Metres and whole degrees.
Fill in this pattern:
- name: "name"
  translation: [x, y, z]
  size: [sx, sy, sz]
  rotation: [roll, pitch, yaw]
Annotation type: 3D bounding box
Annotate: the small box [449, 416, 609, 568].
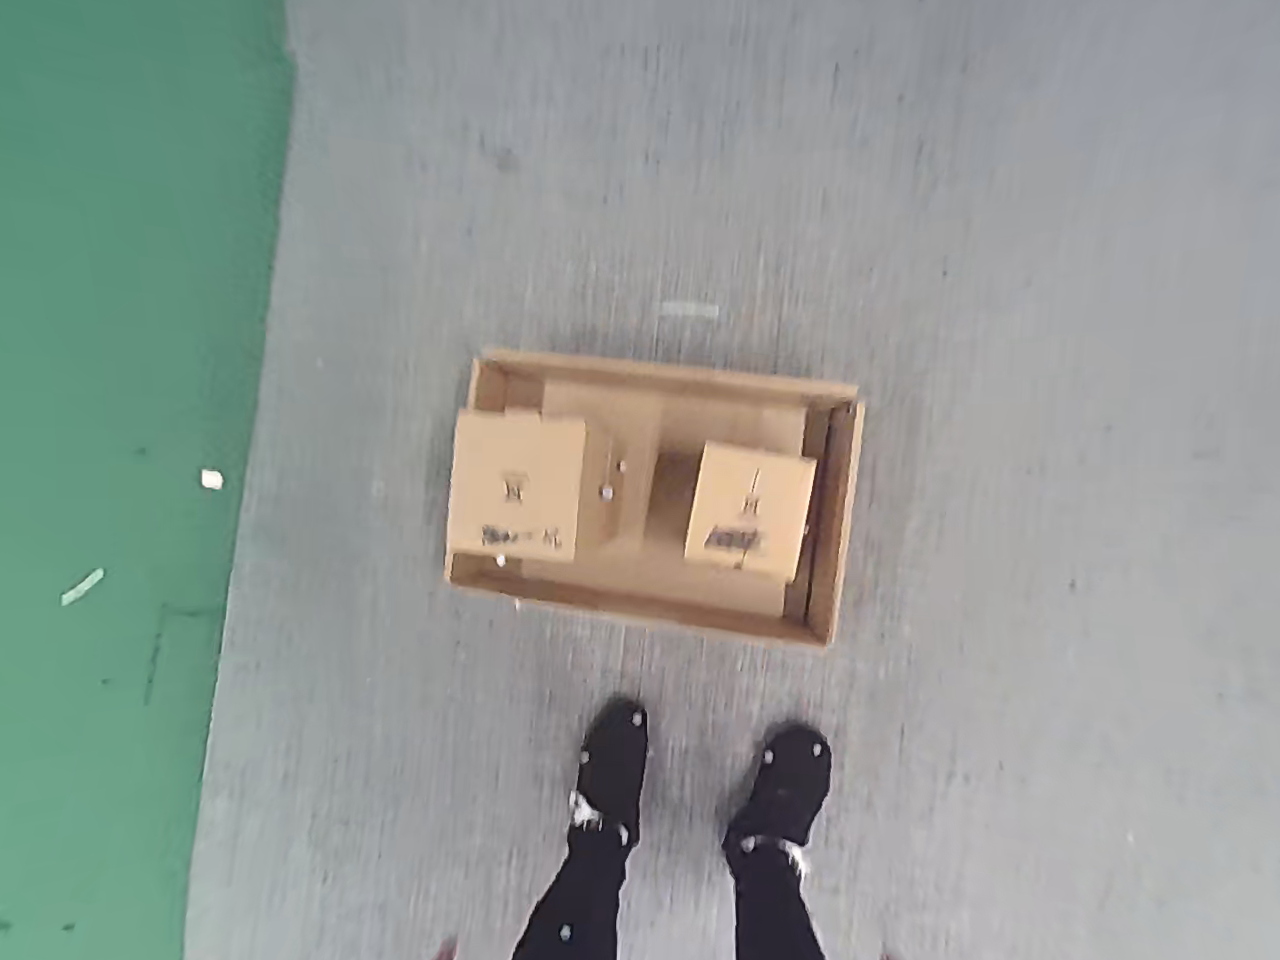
- name: "small box"
  translation: [-0.140, 0.018, 0.744]
  size: [0.168, 0.176, 0.179]
  rotation: [5, 87, 7]
